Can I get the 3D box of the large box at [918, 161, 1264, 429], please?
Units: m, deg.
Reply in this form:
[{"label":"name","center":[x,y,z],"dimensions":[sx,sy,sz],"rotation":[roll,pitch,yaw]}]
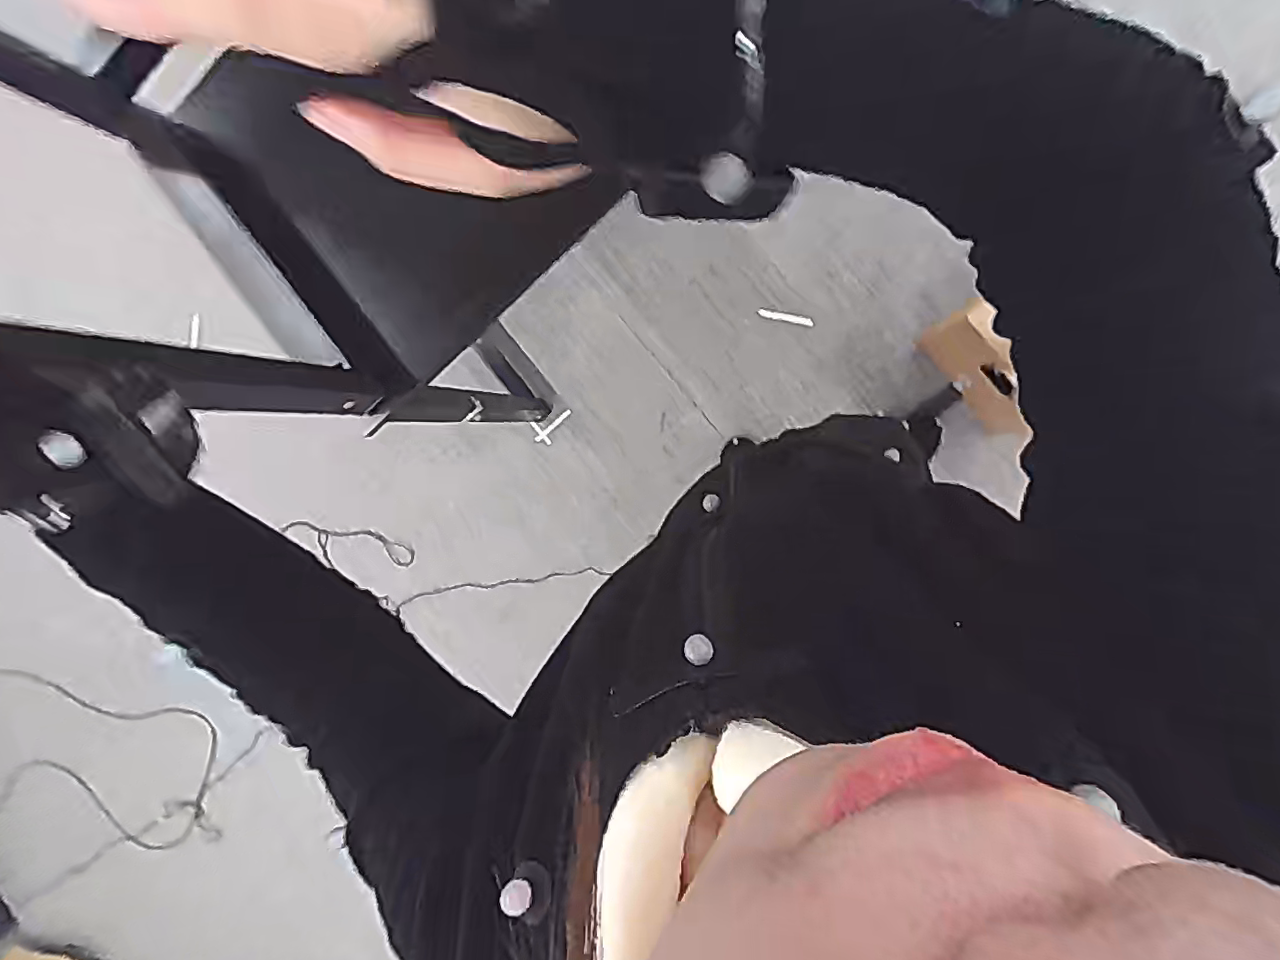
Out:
[{"label":"large box","center":[0.901,-0.350,1.155],"dimensions":[0.408,0.320,0.320],"rotation":[-40,89,11]}]
